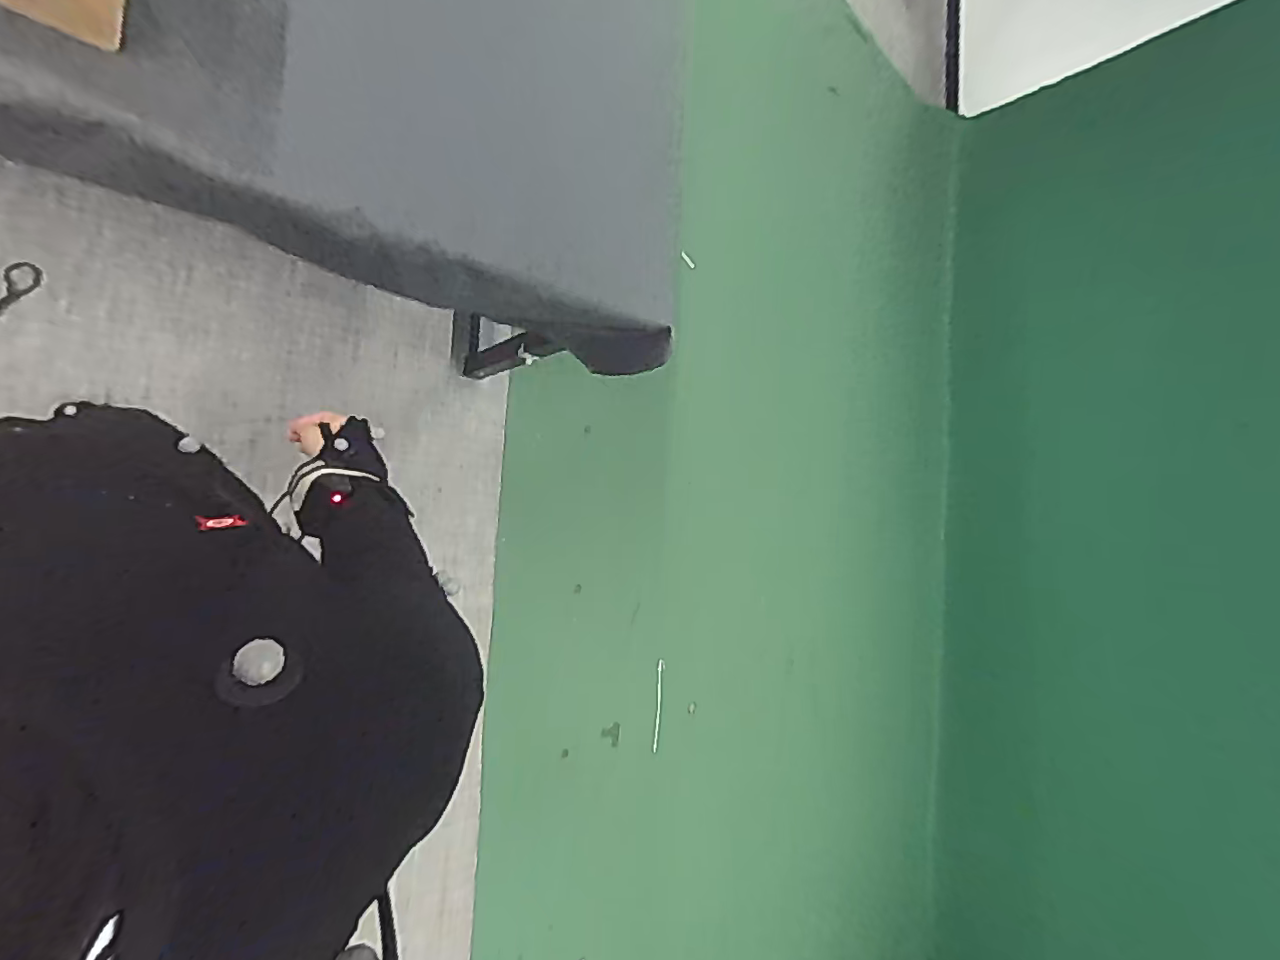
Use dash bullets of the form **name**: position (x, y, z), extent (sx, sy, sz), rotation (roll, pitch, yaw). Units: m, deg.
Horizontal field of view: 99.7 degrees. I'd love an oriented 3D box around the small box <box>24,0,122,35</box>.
- **small box**: position (-0.464, -0.474, 0.369), extent (0.168, 0.176, 0.179), rotation (7, 84, -43)
